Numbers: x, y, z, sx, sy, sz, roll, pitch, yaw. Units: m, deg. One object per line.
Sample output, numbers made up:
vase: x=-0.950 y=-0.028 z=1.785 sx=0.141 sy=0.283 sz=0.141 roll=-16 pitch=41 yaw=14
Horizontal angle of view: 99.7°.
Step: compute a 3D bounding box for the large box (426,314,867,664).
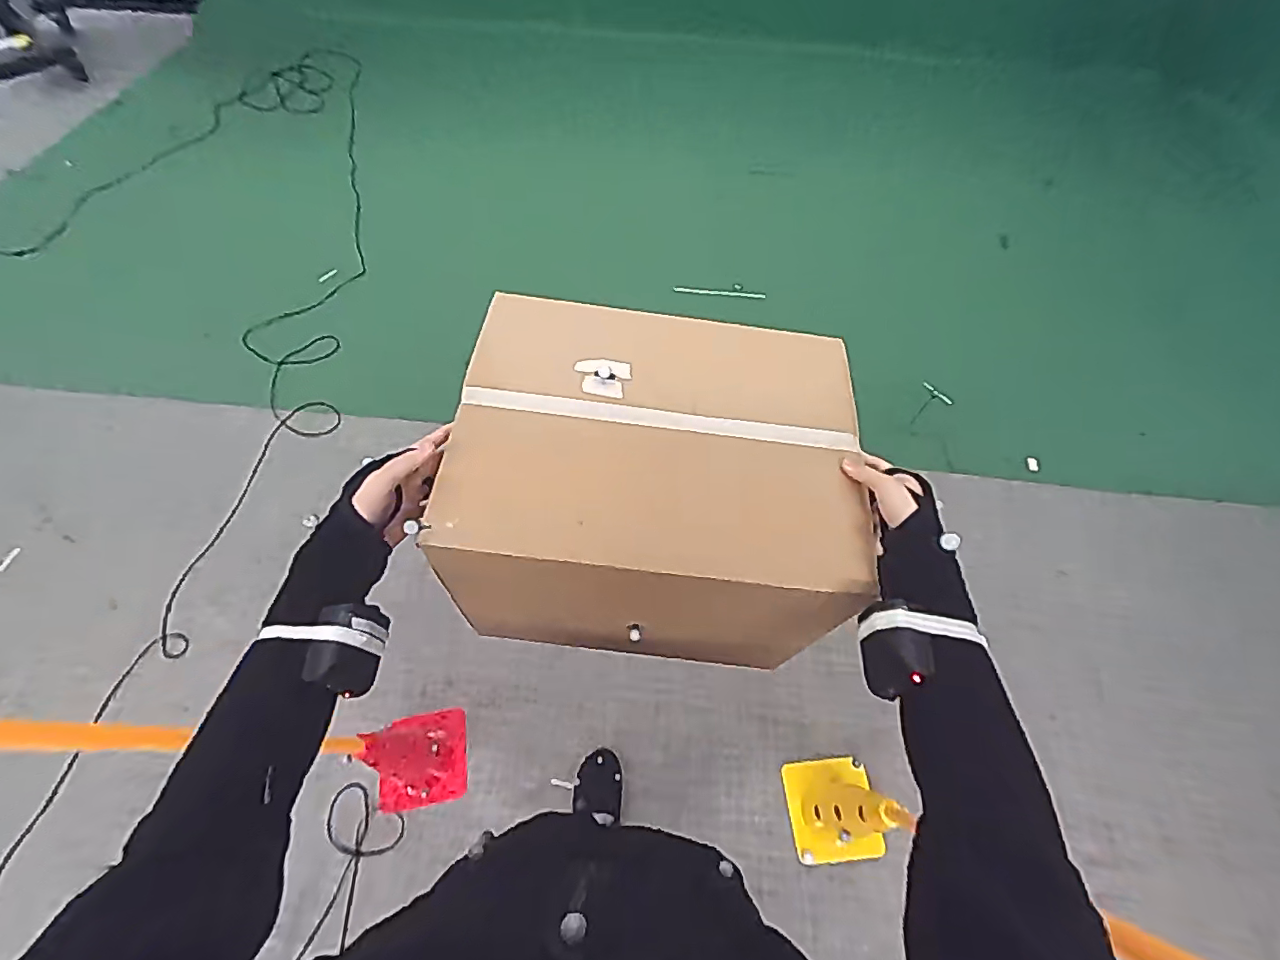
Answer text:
large box: x=0.009 y=0.032 z=0.682 sx=0.408 sy=0.320 sz=0.320 roll=7 pitch=59 yaw=-1
